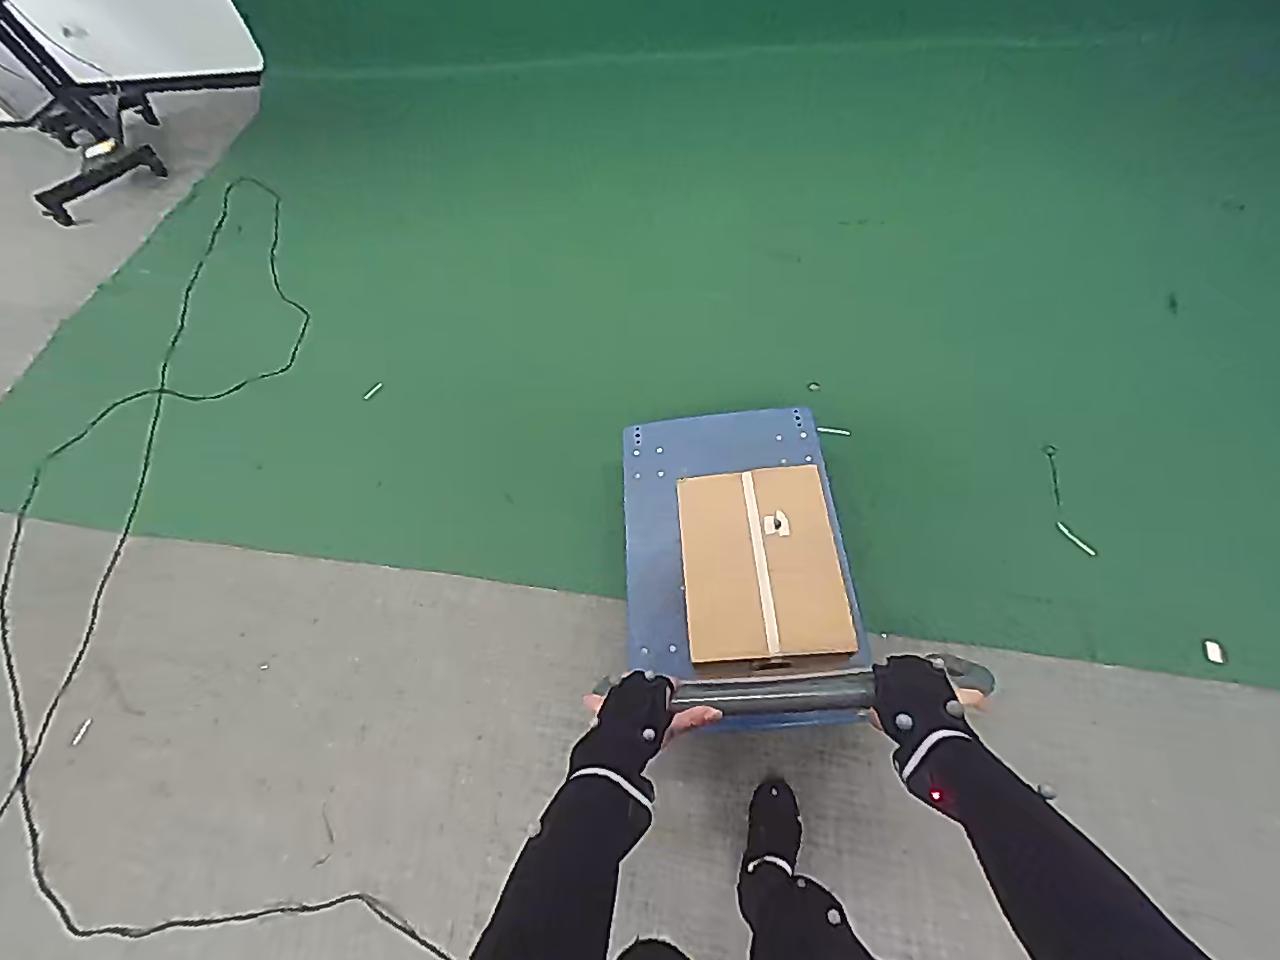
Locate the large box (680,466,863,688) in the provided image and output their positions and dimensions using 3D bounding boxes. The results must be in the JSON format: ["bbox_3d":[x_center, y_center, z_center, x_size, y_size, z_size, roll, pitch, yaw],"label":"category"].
[{"bbox_3d":[0.273,0.230,1.229,0.320,0.320,0.408,-6,59,6],"label":"large box"}]
